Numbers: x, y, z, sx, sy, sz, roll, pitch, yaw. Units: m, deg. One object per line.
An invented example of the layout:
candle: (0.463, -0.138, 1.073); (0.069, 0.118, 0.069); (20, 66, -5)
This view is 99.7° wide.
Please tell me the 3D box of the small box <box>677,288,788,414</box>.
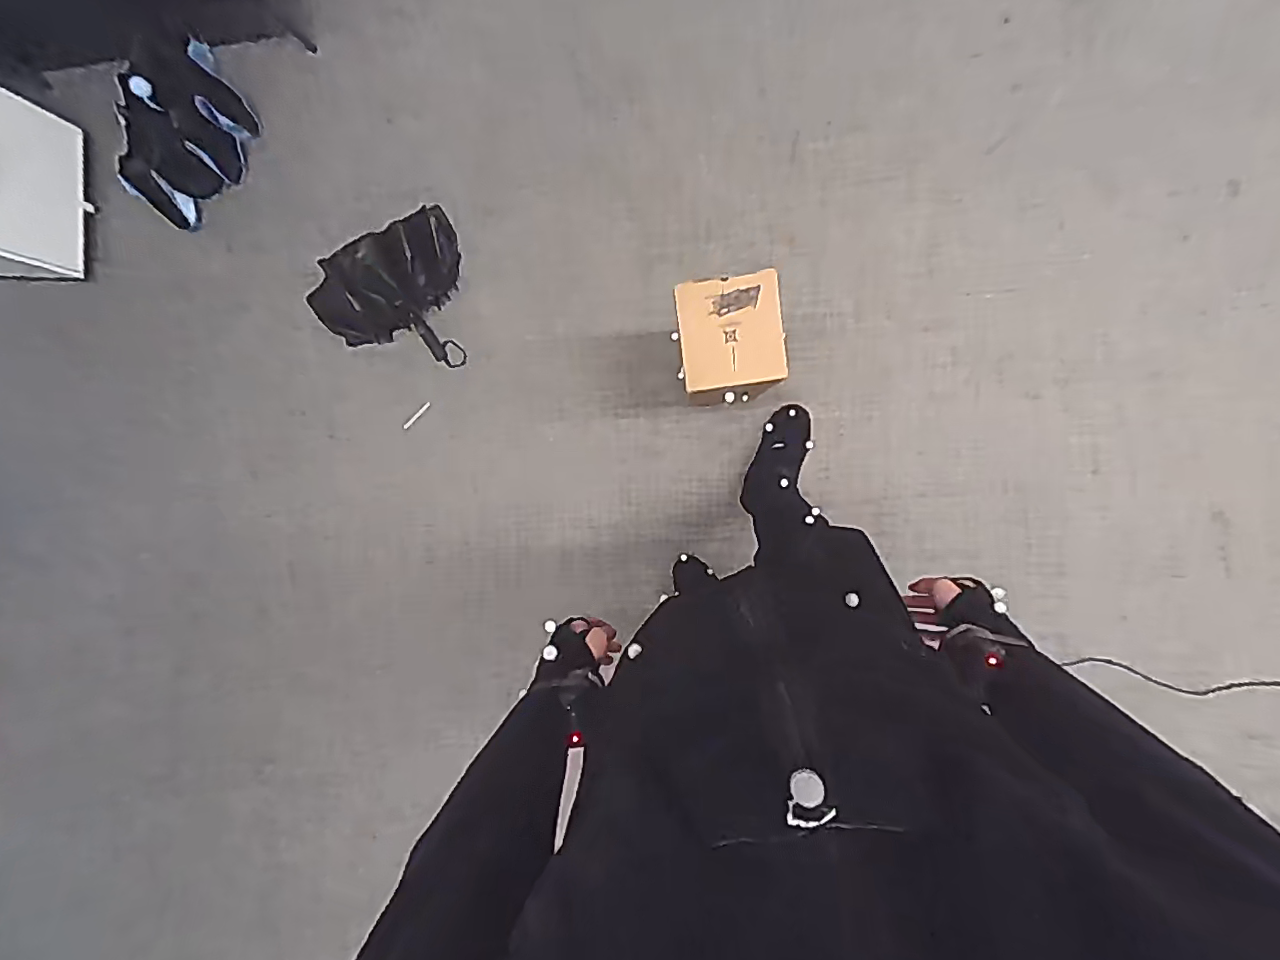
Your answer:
small box: (0.156, -0.218, 0.958); (0.168, 0.176, 0.179); (-8, 93, 6)
